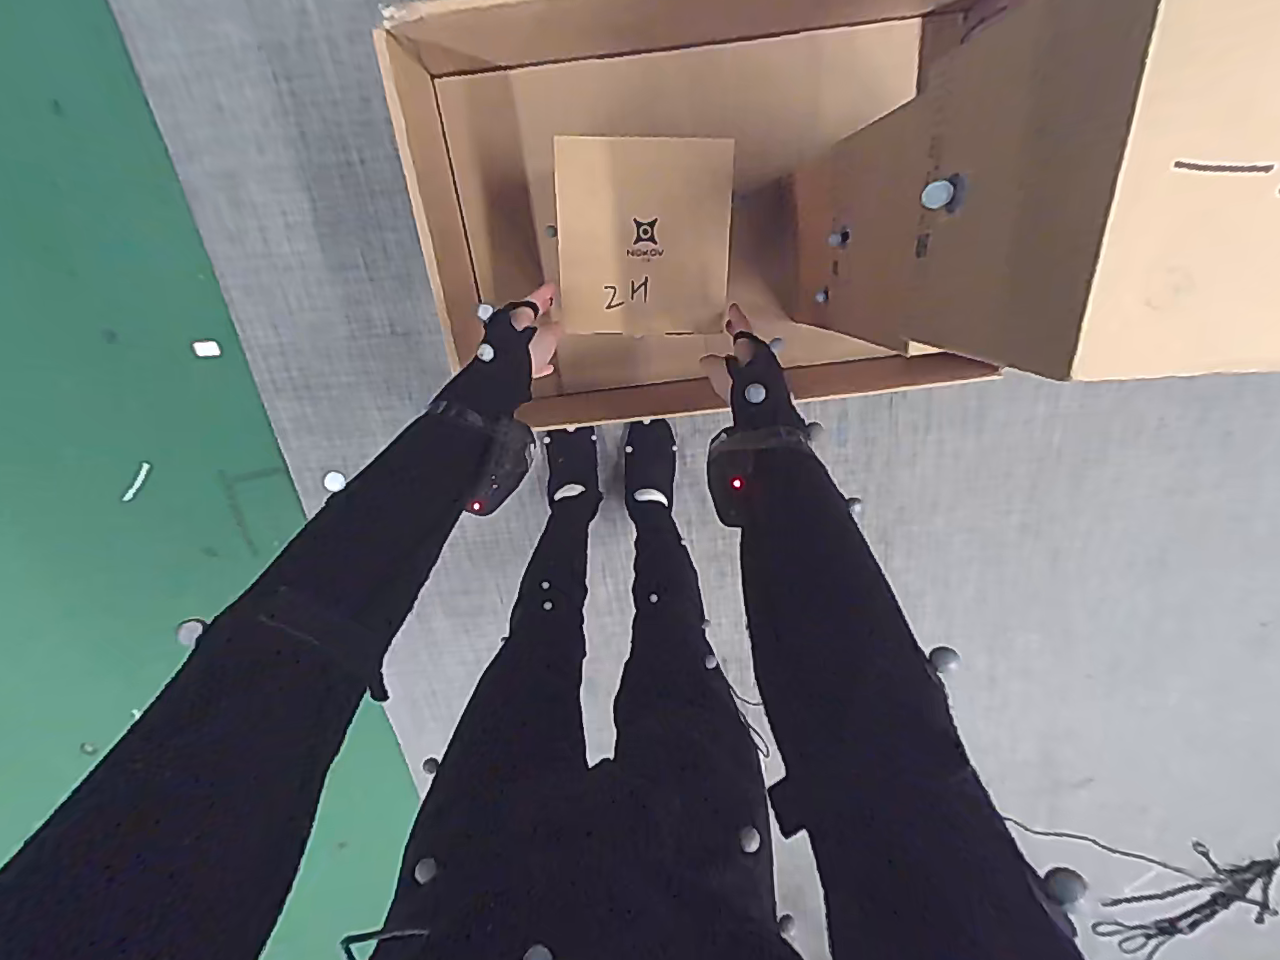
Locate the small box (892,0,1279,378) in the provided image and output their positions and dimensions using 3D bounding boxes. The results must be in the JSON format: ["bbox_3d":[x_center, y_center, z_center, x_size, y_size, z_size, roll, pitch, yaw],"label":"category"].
[{"bbox_3d":[0.265,-0.154,0.287,0.179,0.176,0.168,-3,111,1],"label":"small box"}]
